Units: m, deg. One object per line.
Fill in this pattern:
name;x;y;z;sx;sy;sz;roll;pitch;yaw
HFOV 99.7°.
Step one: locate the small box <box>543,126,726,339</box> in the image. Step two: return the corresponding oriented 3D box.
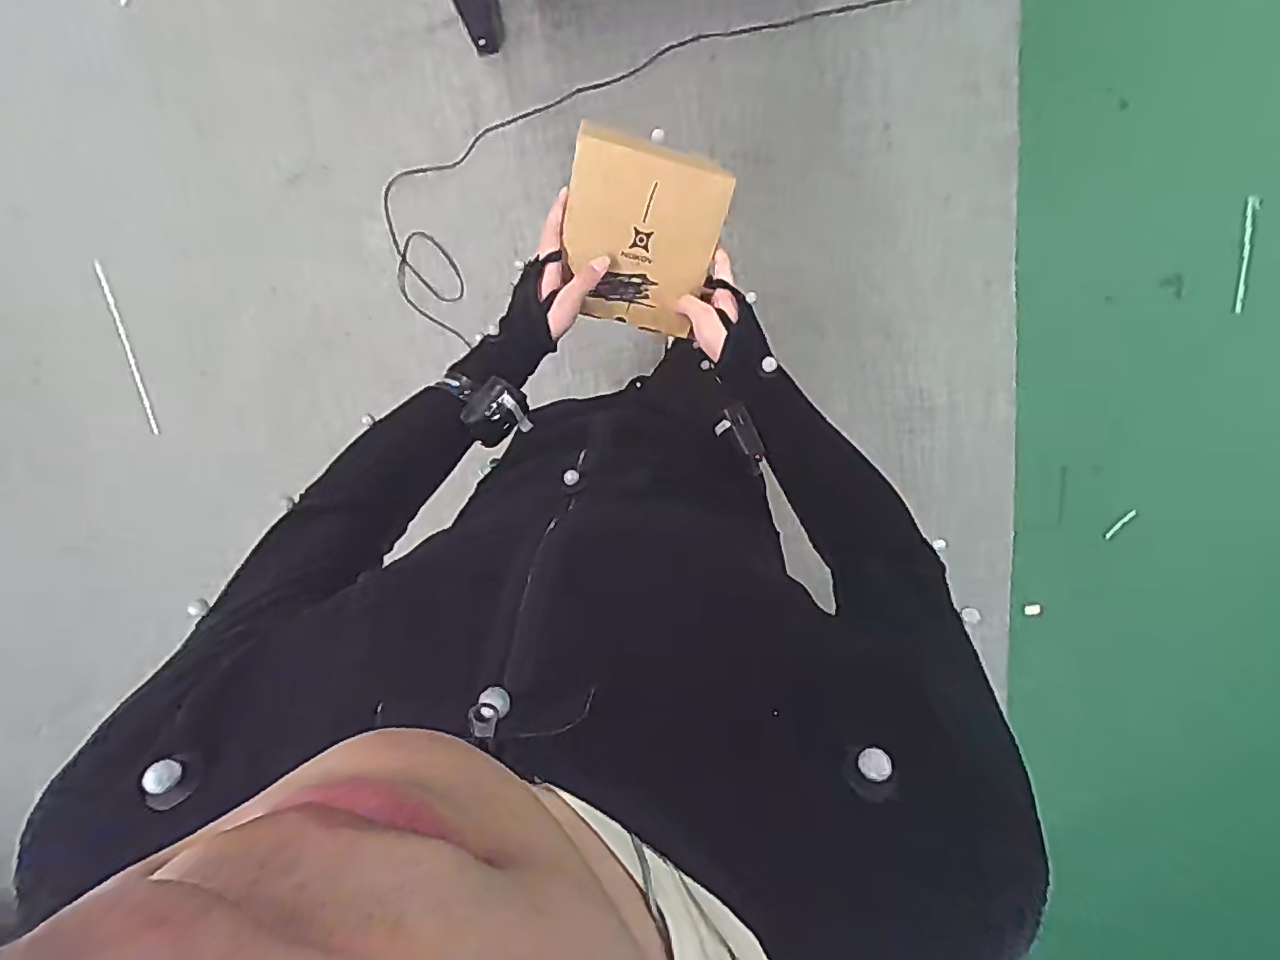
small box;-0.016;-0.295;0.642;0.168;0.176;0.179;9;125;-13
